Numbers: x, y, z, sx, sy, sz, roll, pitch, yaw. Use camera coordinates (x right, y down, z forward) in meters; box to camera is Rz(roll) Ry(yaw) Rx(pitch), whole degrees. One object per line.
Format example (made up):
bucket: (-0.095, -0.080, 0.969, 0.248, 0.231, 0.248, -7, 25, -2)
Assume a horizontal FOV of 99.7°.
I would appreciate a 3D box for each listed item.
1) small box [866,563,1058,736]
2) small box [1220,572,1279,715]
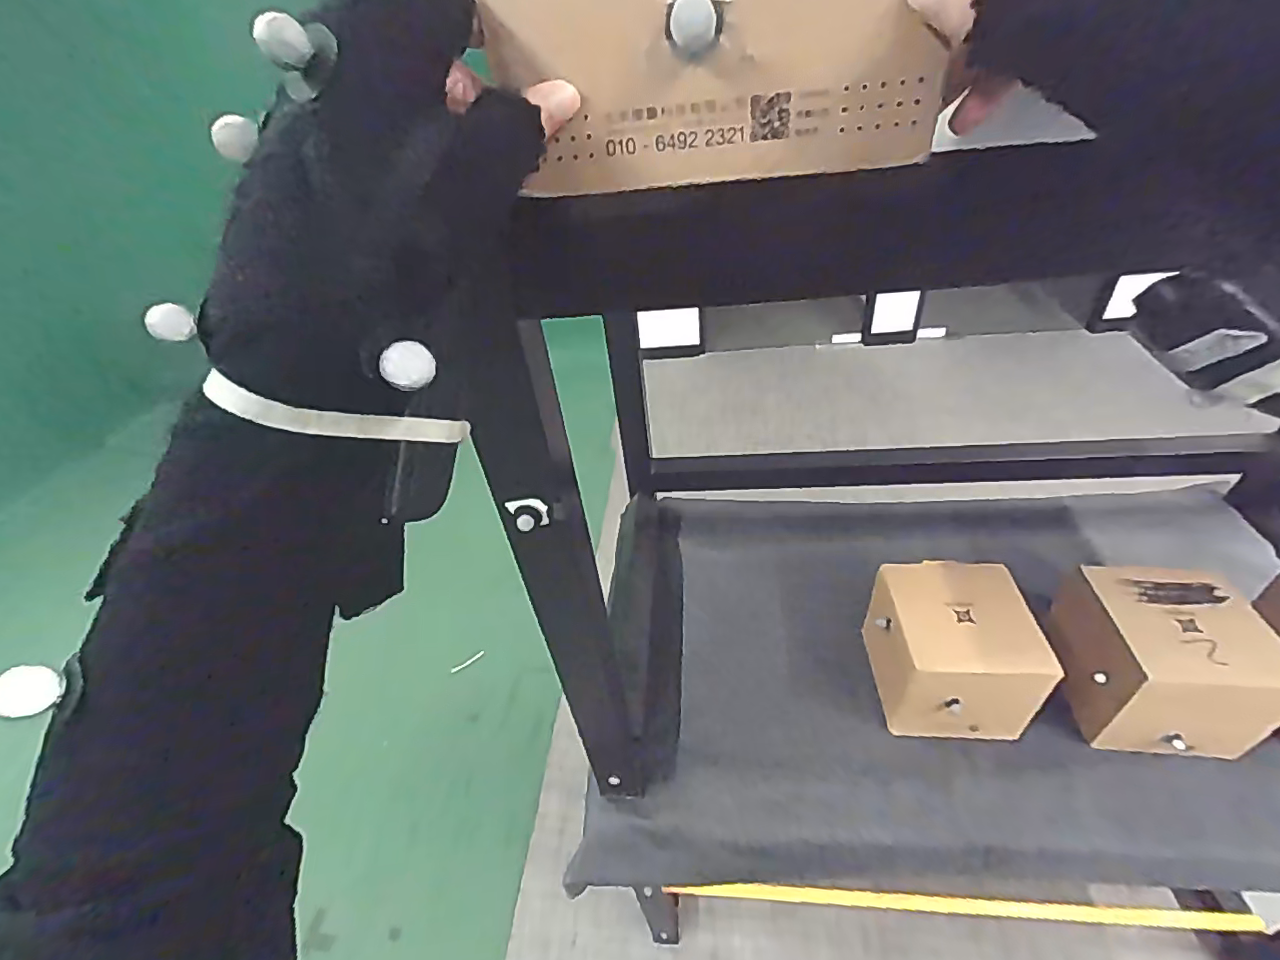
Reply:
small box: (0.430, 0.237, 0.758, 0.168, 0.176, 0.179, -1, 39, 8)
small box: (0.917, 0.230, 0.676, 0.168, 0.176, 0.179, -2, 38, 7)
